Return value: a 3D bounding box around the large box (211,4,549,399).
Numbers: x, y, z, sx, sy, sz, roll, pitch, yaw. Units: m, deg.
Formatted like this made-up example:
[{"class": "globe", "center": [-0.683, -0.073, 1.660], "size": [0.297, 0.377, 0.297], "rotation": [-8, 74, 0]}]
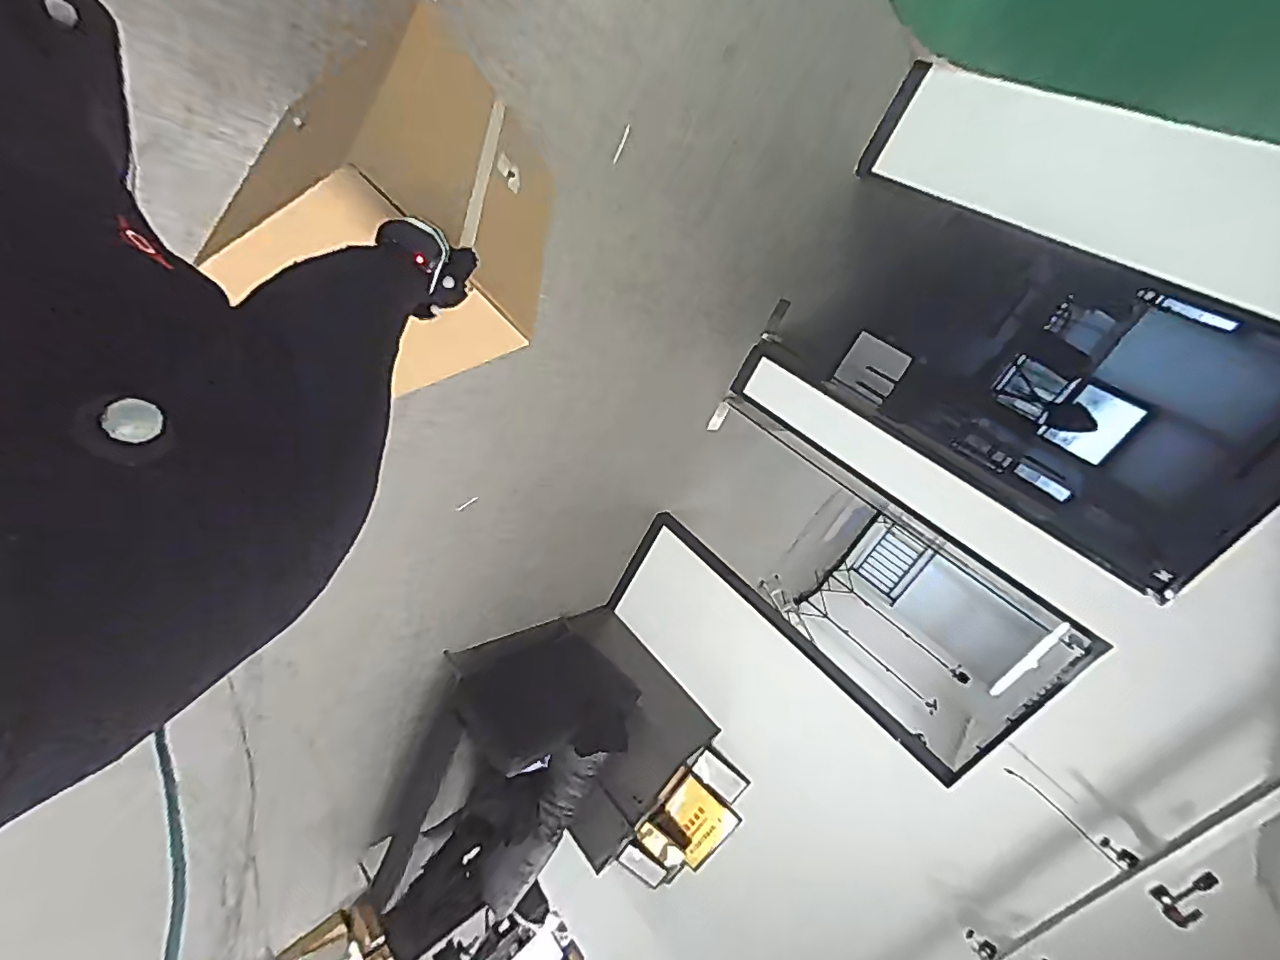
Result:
[{"class": "large box", "center": [-0.369, -0.404, 0.852], "size": [0.320, 0.408, 0.320], "rotation": [-15, 148, 24]}]
